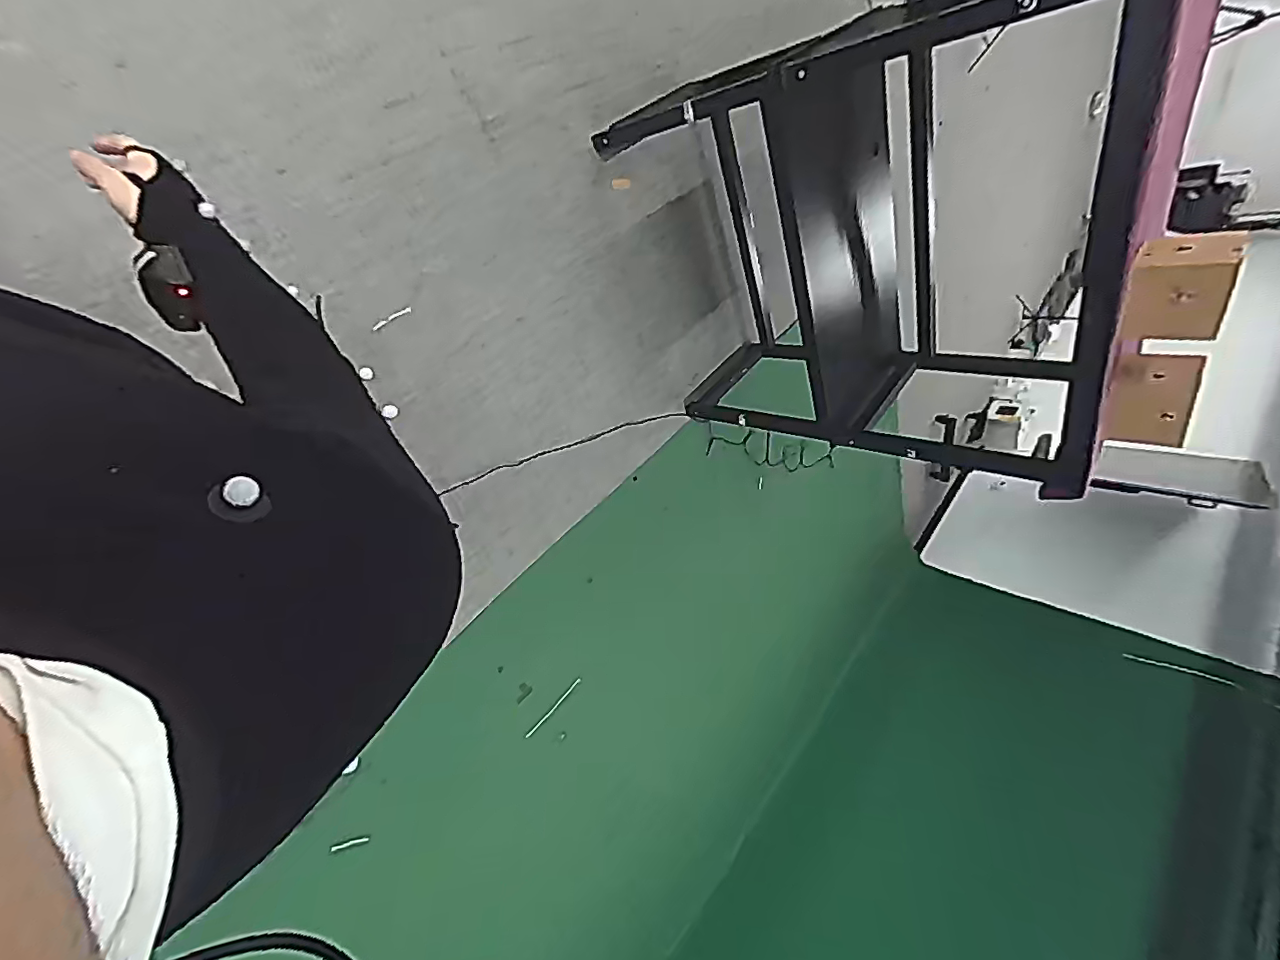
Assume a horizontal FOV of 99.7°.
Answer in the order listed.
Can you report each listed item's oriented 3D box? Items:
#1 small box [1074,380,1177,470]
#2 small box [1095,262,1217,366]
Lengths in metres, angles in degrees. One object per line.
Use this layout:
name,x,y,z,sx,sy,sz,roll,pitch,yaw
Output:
small box,1.269,-0.153,1.421,0.168,0.176,0.179,-41,129,-31
small box,1.168,-0.377,1.234,0.168,0.176,0.179,-43,130,-29
